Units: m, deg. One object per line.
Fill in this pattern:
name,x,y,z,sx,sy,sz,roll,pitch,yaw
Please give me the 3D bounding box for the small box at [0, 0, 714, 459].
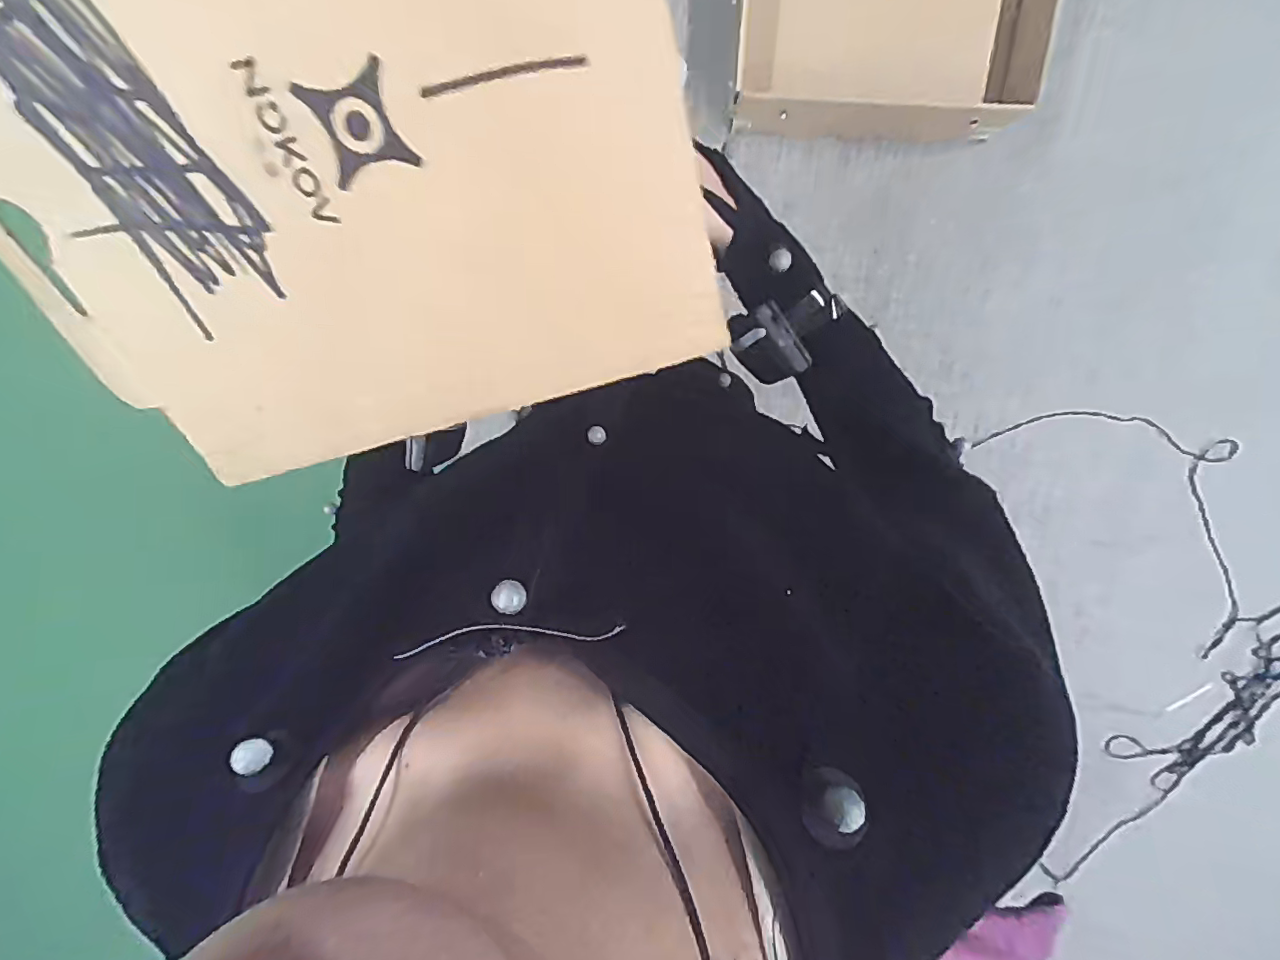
small box,-0.081,-0.134,0.207,0.179,0.176,0.168,-14,123,5
